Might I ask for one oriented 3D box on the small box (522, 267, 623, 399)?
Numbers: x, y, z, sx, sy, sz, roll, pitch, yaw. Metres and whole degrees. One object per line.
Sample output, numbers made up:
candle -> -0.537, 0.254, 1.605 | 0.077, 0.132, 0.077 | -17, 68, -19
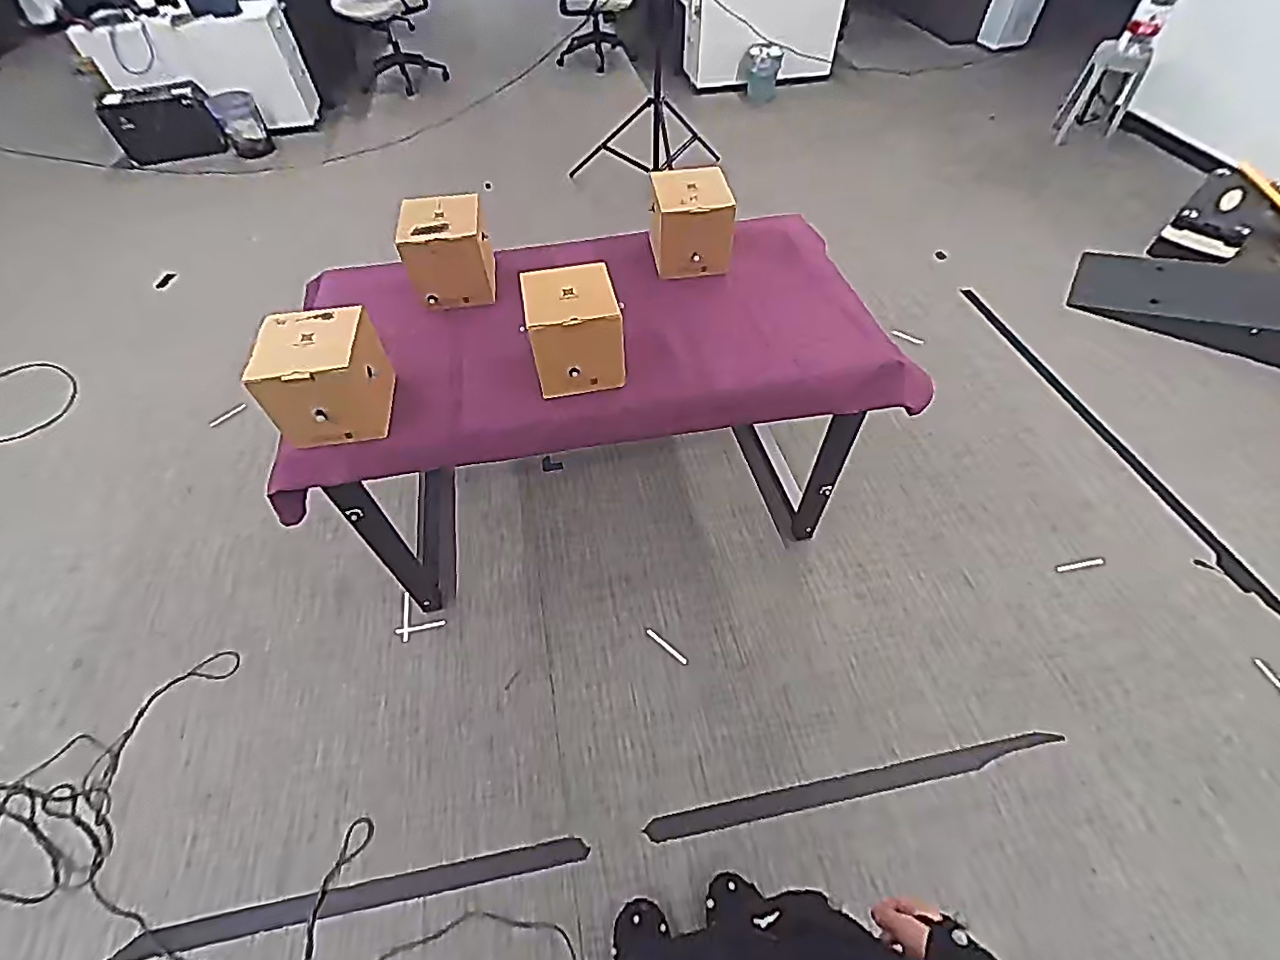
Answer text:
small box -> -0.128, -0.284, 1.050 | 0.168, 0.176, 0.179 | -10, 53, -7

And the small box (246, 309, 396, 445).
small box -> -0.558, -0.178, 0.976 | 0.168, 0.176, 0.179 | -8, 54, -6

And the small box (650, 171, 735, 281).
small box -> 0.115, -0.595, 1.271 | 0.168, 0.176, 0.179 | -7, 56, -3

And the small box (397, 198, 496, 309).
small box -> -0.424, -0.502, 1.215 | 0.168, 0.176, 0.179 | -8, 54, -5
